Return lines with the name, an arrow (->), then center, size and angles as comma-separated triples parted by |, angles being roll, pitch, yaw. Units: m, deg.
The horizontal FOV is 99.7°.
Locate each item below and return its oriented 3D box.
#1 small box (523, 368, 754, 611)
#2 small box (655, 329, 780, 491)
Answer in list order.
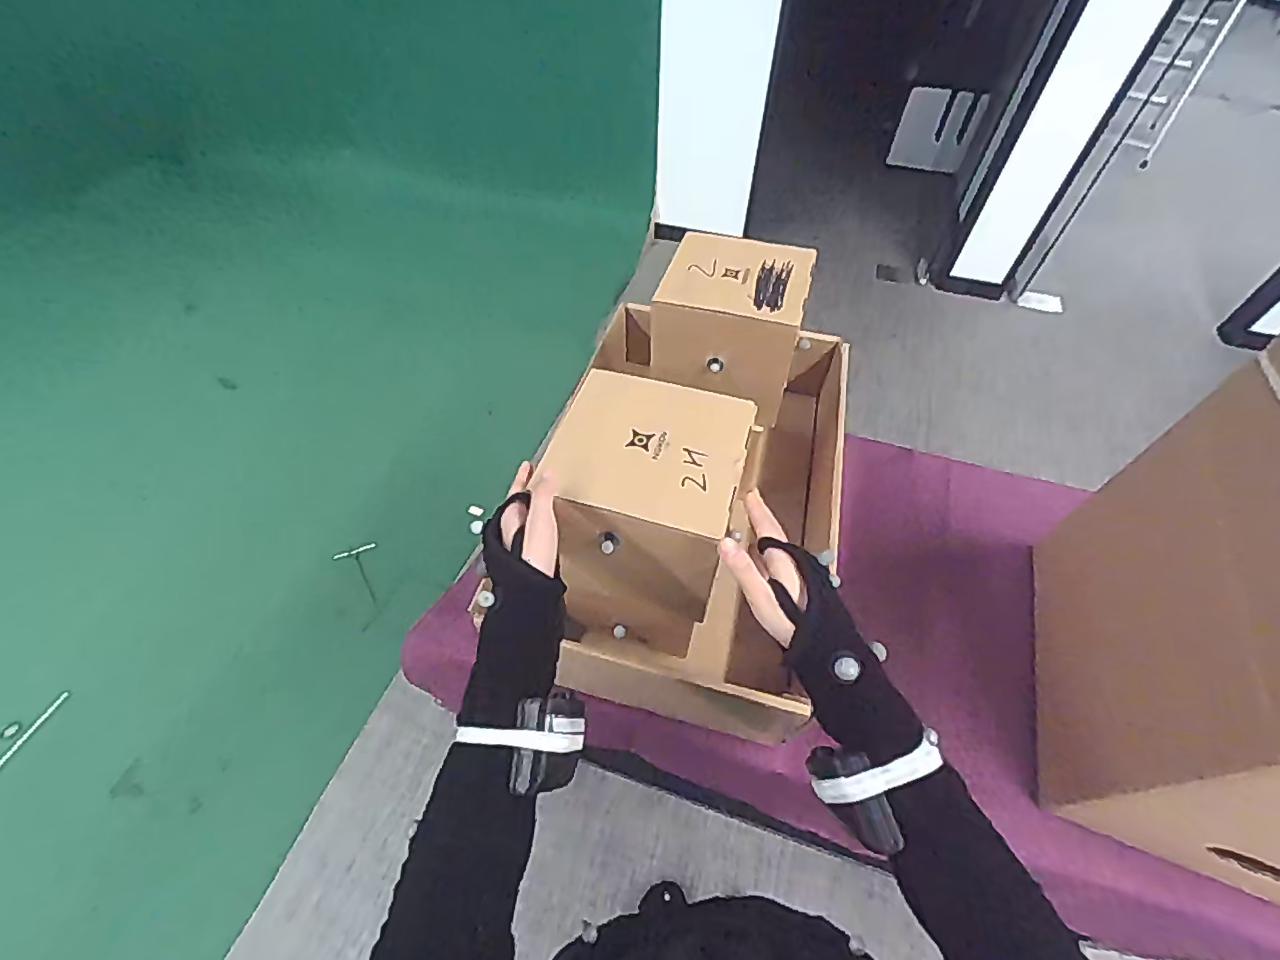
small box -> 0.004, 0.015, 0.560 | 0.179, 0.176, 0.168 | 15, 55, 11
small box -> 0.113, -0.106, 0.858 | 0.168, 0.176, 0.179 | 15, 55, 12
